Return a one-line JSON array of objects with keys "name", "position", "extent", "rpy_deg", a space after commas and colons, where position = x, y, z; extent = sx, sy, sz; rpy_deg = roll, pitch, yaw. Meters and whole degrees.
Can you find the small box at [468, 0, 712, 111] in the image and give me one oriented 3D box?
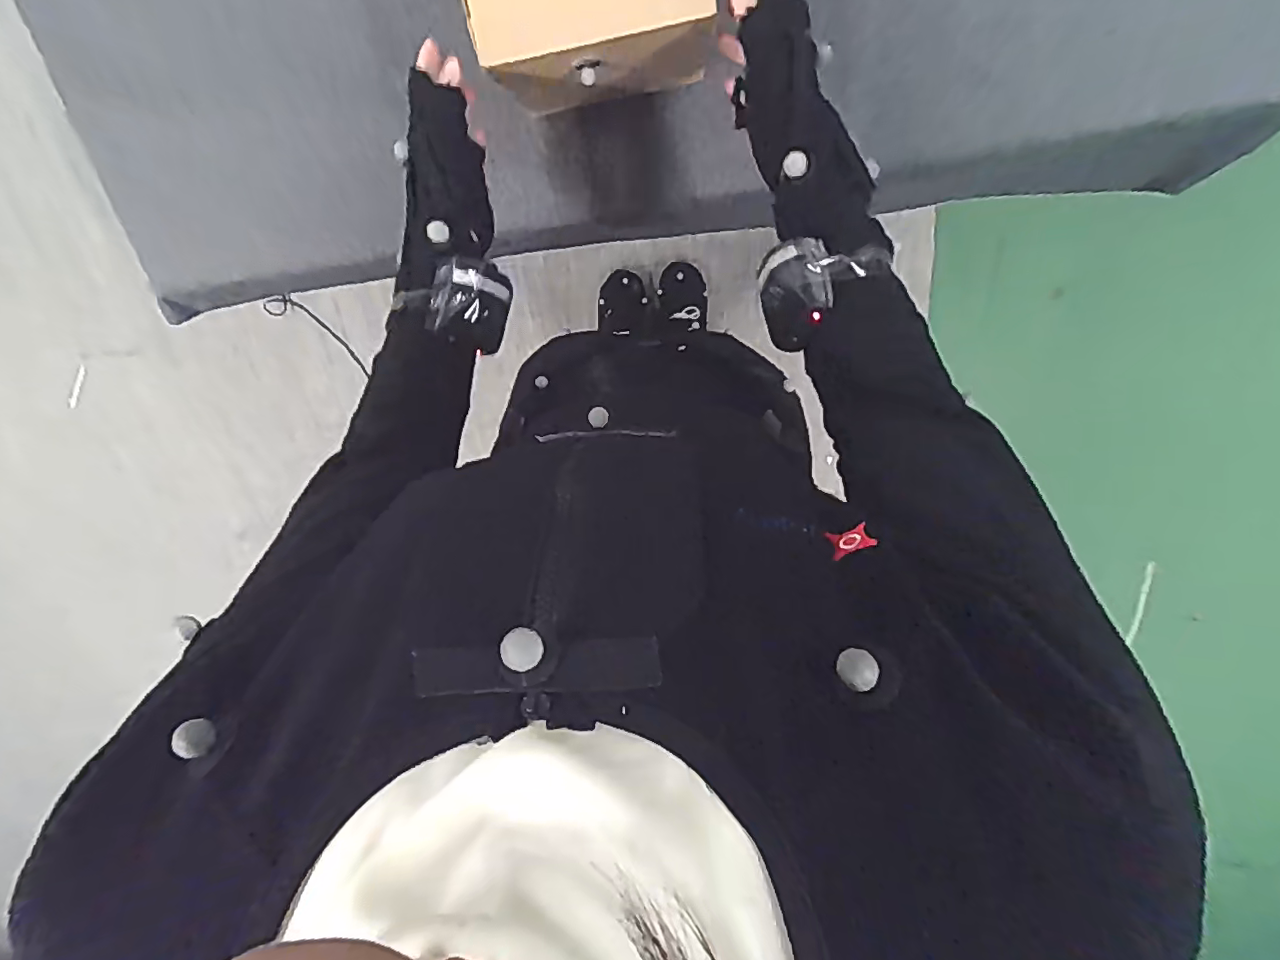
[{"name": "small box", "position": [-0.041, -0.424, 0.436], "extent": [0.179, 0.176, 0.168], "rpy_deg": [-8, 113, 6]}]
